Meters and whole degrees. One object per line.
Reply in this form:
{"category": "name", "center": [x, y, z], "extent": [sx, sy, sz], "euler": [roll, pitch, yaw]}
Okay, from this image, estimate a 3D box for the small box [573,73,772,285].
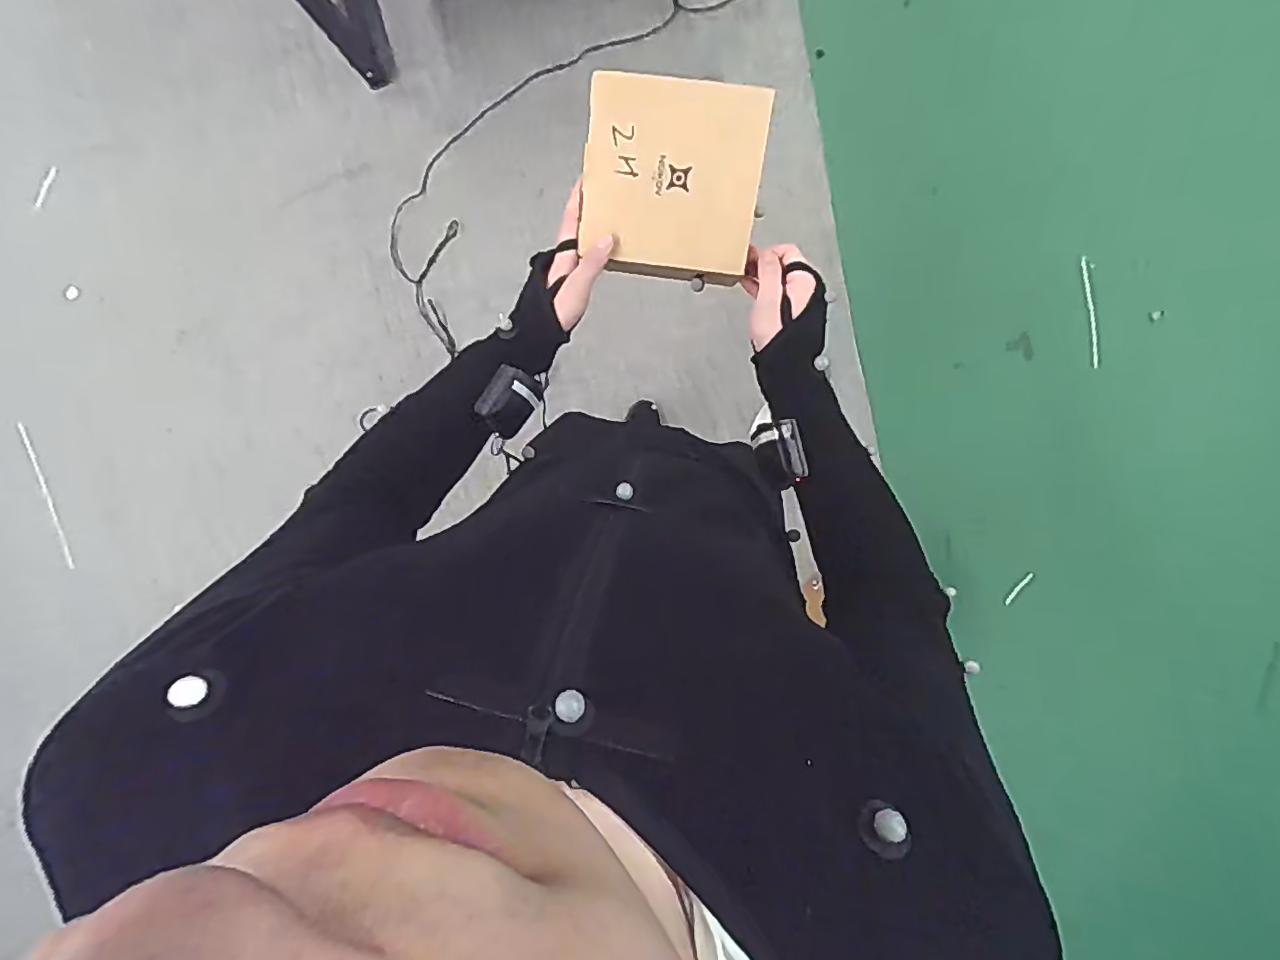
{"category": "small box", "center": [0.034, -0.313, 0.598], "extent": [0.179, 0.176, 0.168], "euler": [8, 107, 4]}
